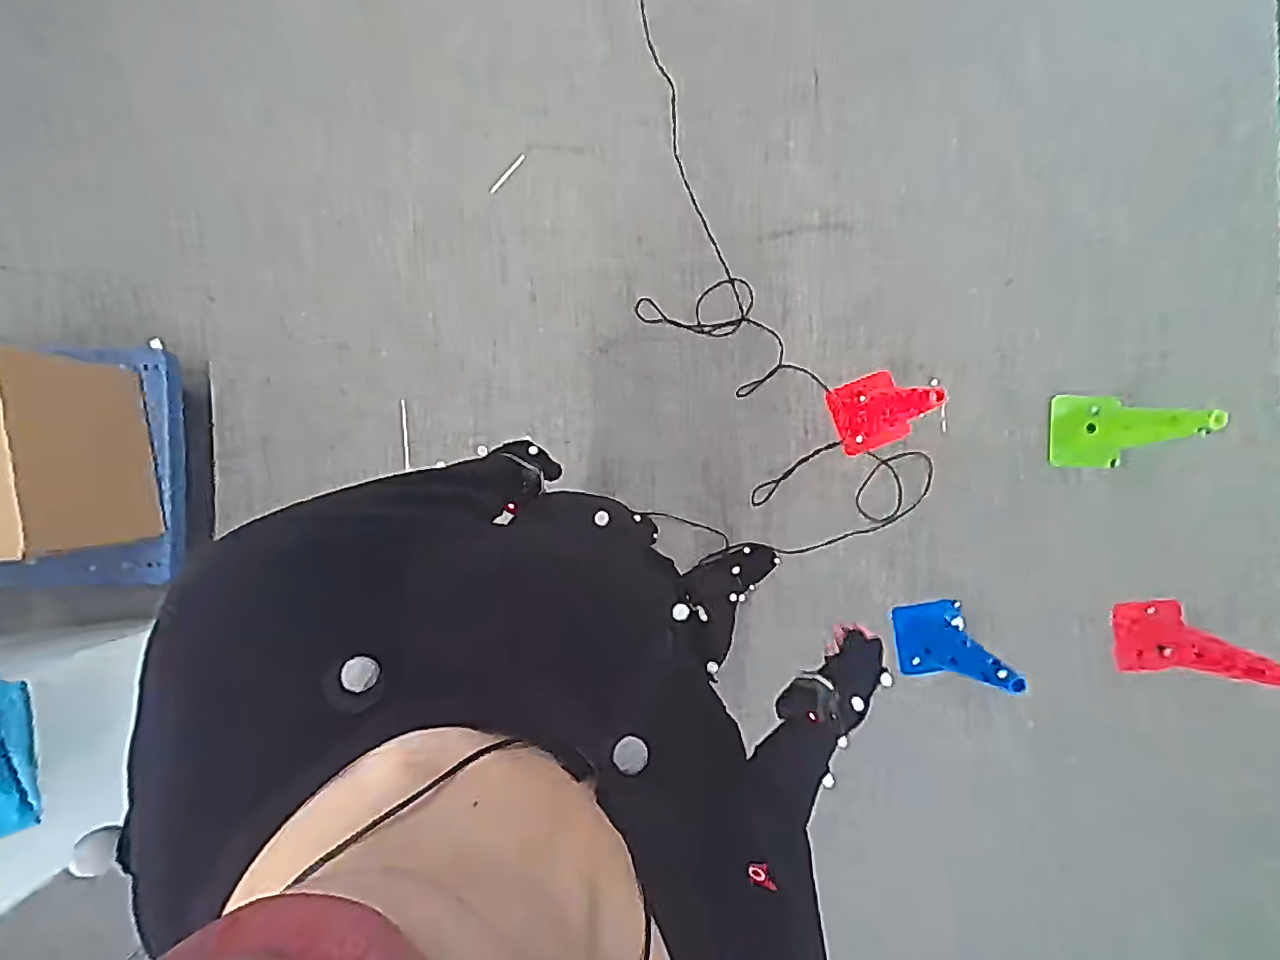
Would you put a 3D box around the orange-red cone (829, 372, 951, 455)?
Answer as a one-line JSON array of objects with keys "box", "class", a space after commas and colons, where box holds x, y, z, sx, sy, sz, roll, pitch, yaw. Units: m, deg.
[{"box": [0.651, -0.185, 1.344, 0.199, 0.360, 0.198, -21, 92, -2], "class": "orange-red cone"}]

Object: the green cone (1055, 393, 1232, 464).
[{"box": [1.271, -0.147, 1.350, 0.202, 0.368, 0.200, 0, 90, 0], "class": "green cone"}]
